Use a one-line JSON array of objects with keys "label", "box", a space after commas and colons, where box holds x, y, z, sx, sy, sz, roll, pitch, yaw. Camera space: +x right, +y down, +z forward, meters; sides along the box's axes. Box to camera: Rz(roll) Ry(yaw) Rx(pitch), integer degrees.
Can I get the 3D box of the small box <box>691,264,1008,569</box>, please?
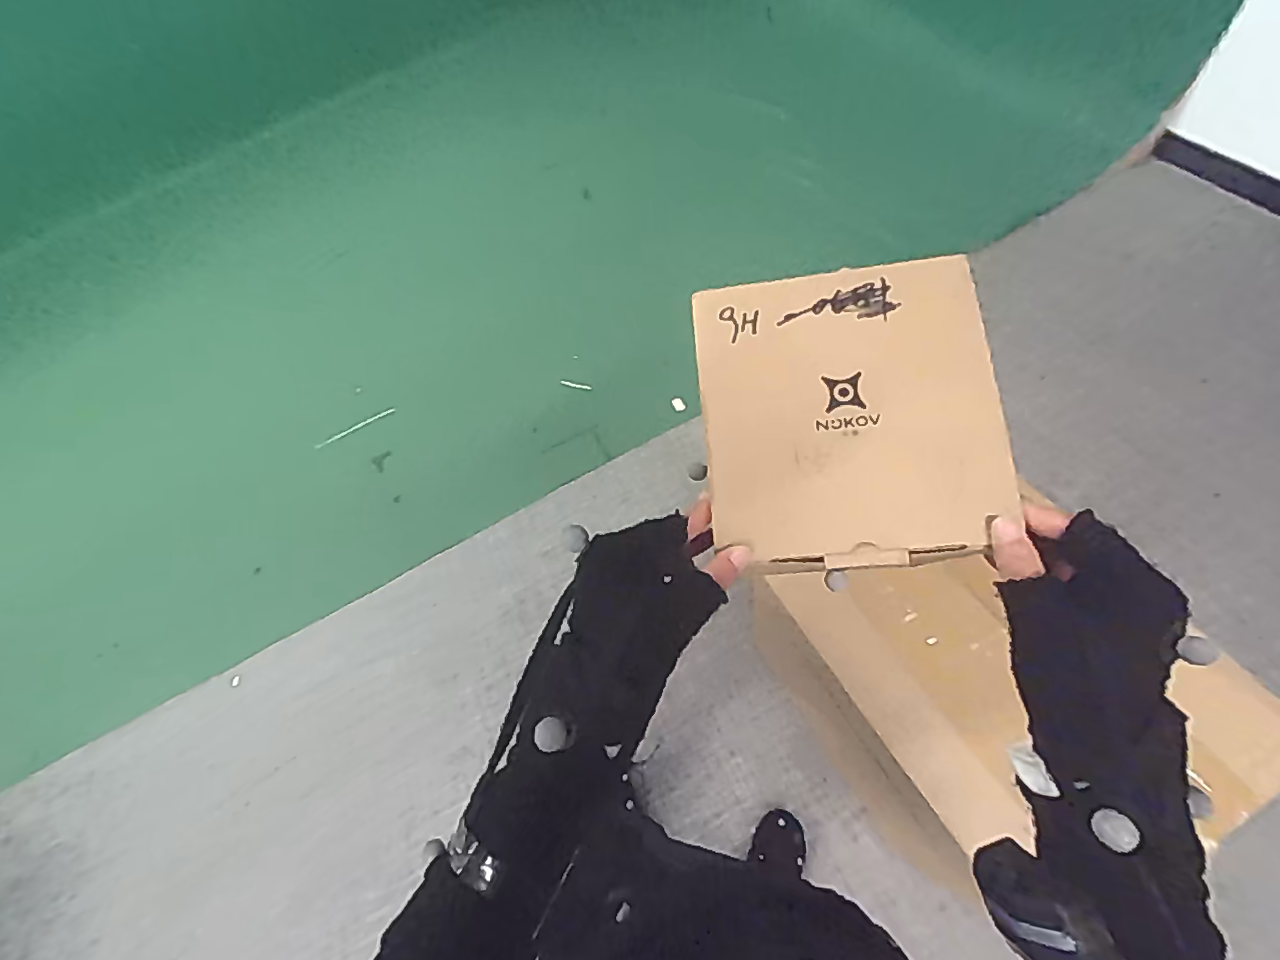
[{"label": "small box", "box": [0.130, -0.026, 0.401, 0.168, 0.176, 0.179, -5, 78, 7]}]
